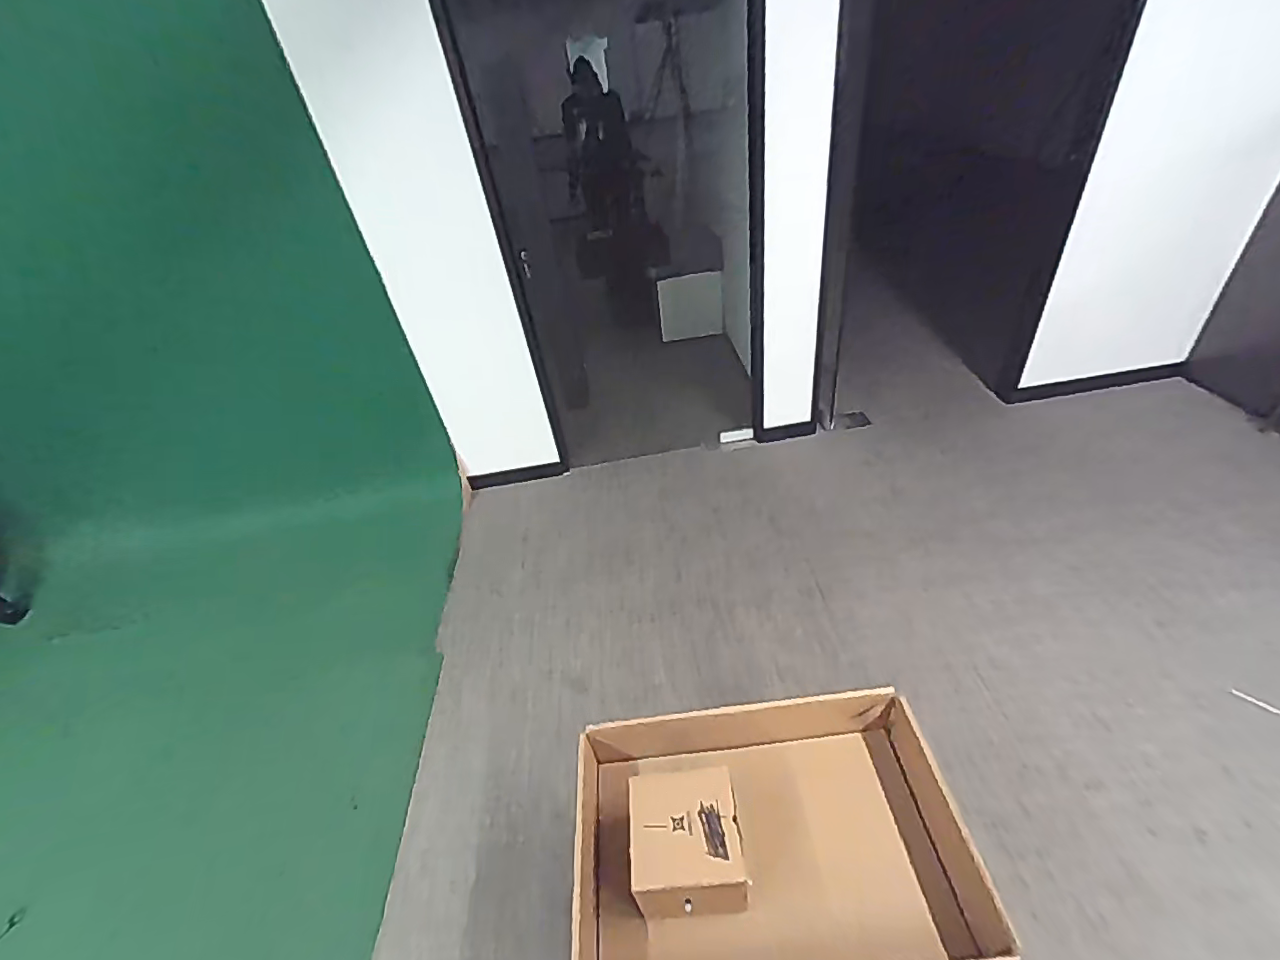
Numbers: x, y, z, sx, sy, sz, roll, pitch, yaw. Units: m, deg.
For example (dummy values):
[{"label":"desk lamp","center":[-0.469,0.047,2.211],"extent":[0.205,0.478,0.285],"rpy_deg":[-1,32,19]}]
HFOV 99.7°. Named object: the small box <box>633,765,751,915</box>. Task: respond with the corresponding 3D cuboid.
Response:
[{"label":"small box","center":[0.086,0.605,0.909],"extent":[0.179,0.176,0.168],"rpy_deg":[-8,38,4]}]
